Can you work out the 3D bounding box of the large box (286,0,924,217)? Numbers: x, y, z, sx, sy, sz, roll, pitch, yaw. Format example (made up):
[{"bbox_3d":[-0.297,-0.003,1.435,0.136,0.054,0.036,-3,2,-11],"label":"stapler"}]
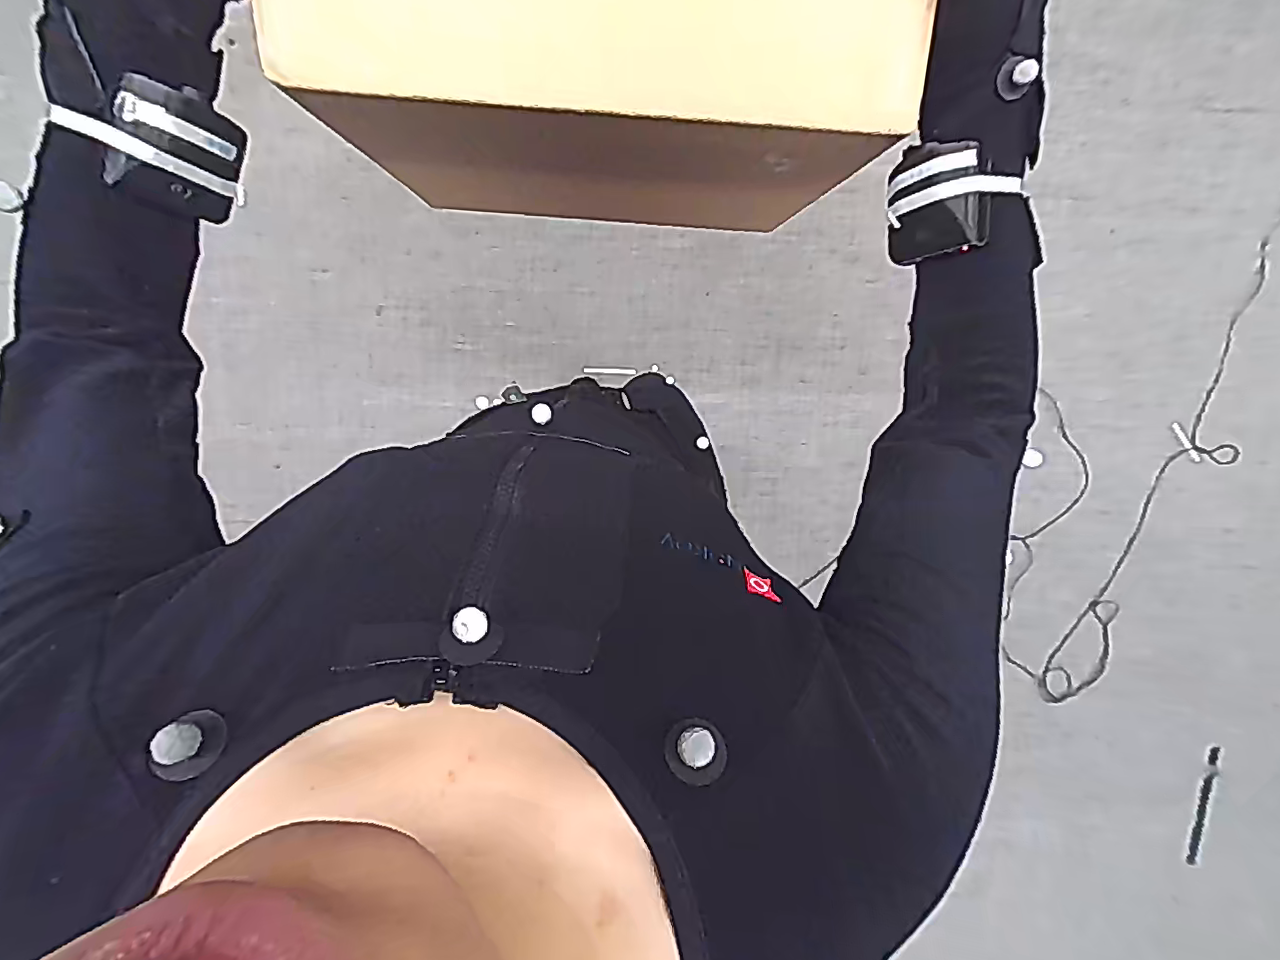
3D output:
[{"bbox_3d":[-0.023,-0.428,0.456,0.408,0.320,0.320,1,105,-4],"label":"large box"}]
